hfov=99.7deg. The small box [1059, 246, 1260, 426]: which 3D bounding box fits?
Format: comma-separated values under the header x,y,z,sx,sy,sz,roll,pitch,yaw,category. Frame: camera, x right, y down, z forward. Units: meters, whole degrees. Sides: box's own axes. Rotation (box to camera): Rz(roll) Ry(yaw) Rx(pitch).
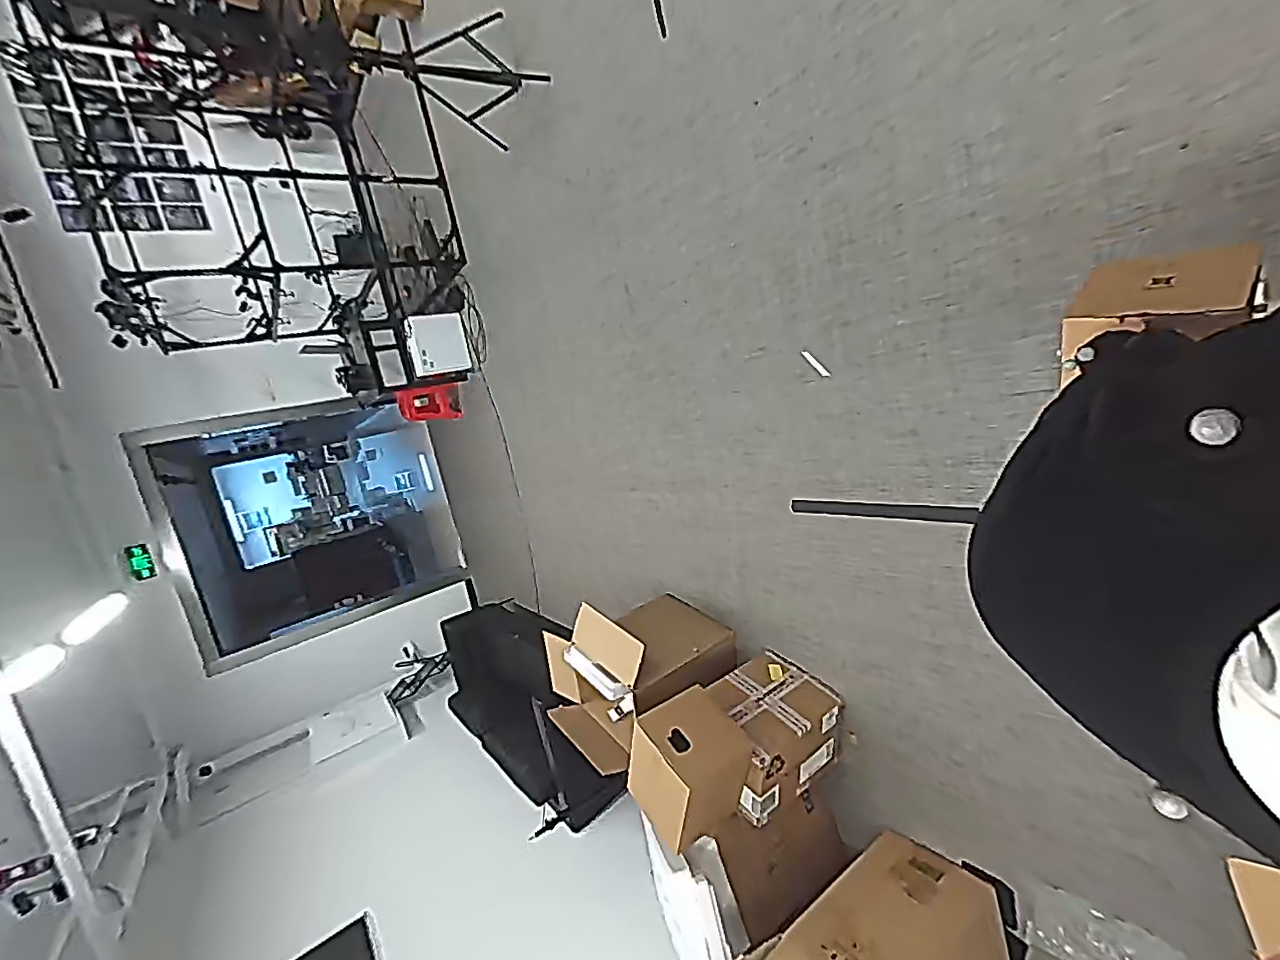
x,y,z,sx,sy,sz,roll,pitch,yaw,category
0.703,-0.192,0.743,0.168,0.179,0.176,15,140,47,small box
